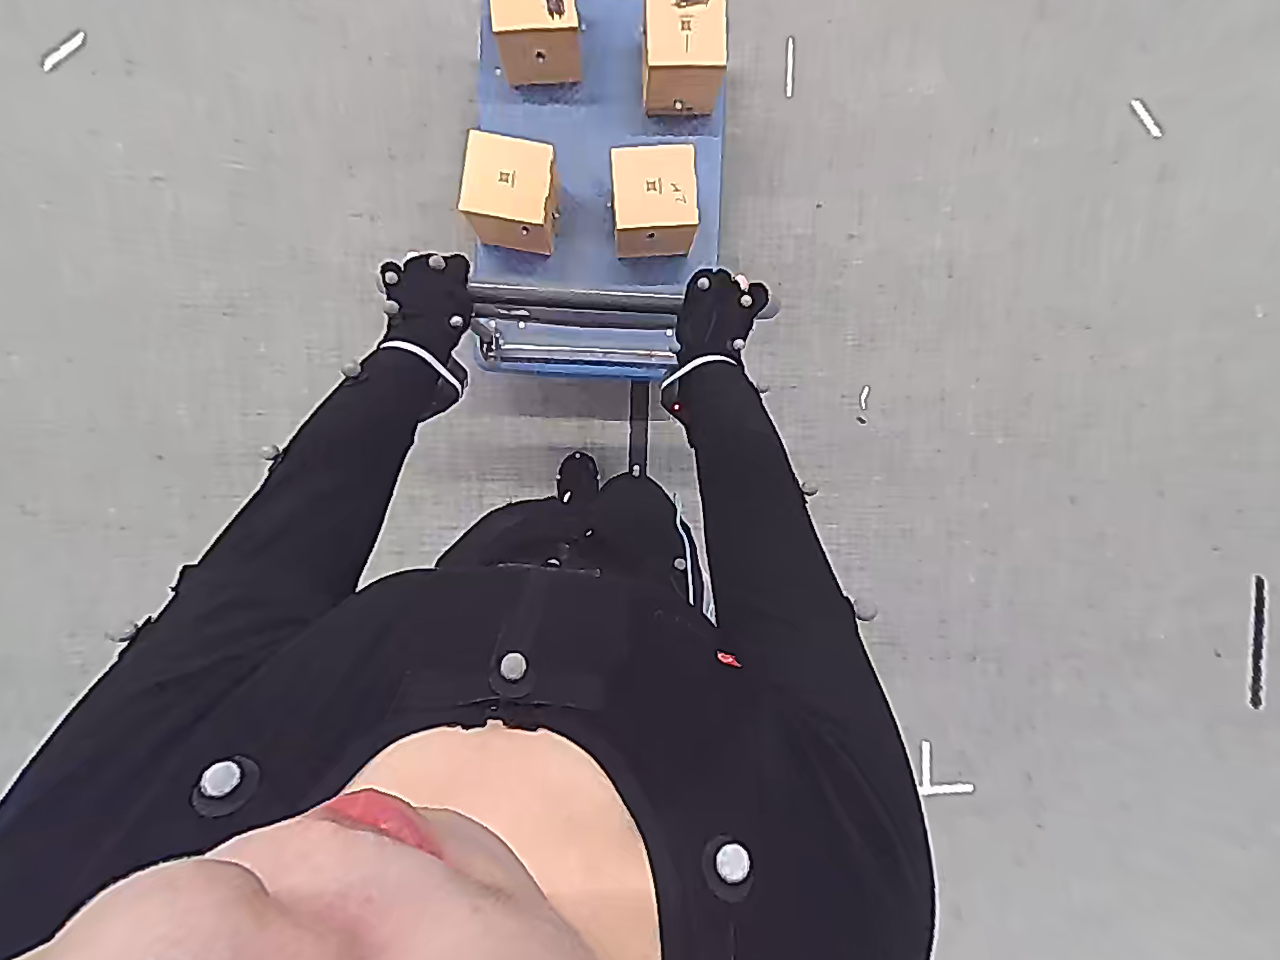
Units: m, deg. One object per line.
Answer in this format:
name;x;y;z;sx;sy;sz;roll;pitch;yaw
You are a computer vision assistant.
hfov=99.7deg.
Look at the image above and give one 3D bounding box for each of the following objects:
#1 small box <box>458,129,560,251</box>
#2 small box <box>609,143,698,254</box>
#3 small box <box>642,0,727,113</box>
small box;-0.277;-0.622;1.180;0.179;0.176;0.168;8;92;-4
small box;0.027;-0.611;1.192;0.179;0.176;0.168;-4;93;-2
small box;0.091;-0.942;1.178;0.168;0.176;0.179;-2;94;-2
